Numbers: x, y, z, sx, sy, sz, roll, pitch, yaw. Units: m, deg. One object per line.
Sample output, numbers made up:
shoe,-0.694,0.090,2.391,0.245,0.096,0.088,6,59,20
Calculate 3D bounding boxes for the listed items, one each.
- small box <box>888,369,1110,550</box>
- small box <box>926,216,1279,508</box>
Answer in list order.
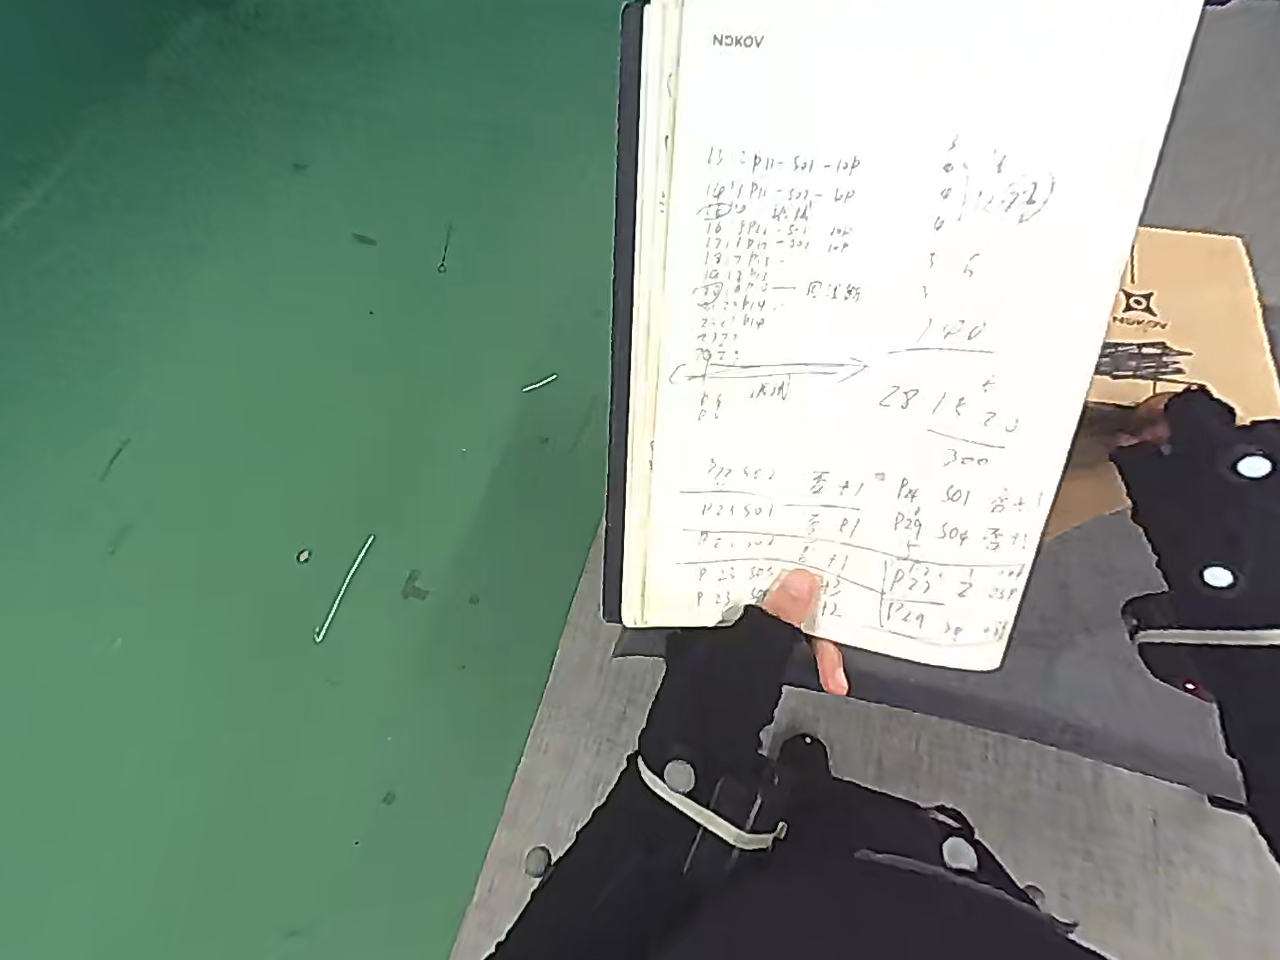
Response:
small box,0.404,-0.038,0.630,0.168,0.176,0.179,13,69,13
small box,0.369,-0.092,0.472,0.168,0.176,0.179,11,67,8
